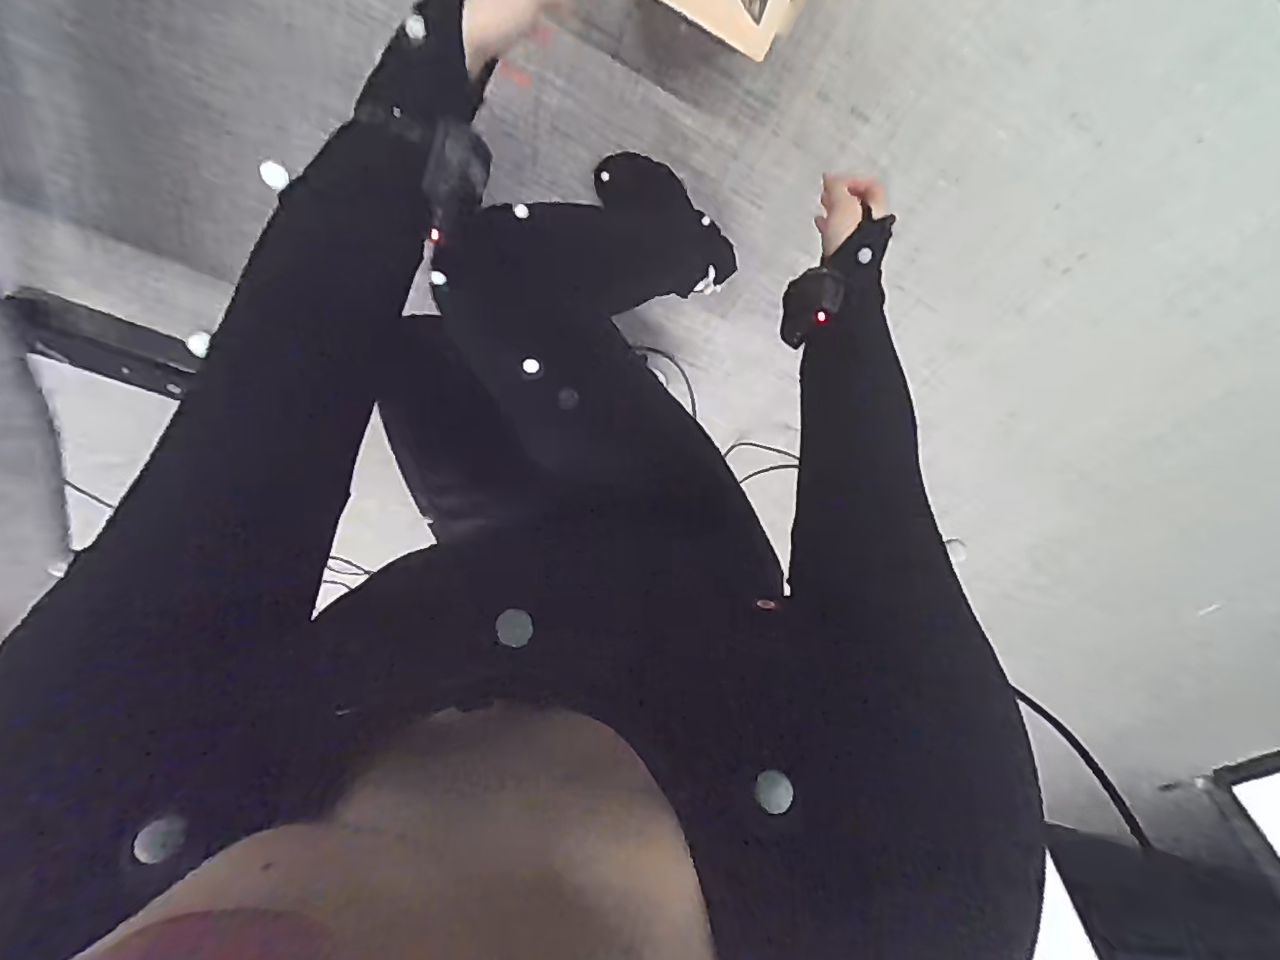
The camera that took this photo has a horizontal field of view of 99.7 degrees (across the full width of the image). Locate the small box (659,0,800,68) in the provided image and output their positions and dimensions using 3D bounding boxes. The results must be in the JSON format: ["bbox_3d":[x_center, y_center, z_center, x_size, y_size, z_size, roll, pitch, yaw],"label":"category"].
[{"bbox_3d":[0.106,-0.619,0.617,0.179,0.176,0.168,20,130,-16],"label":"small box"}]
